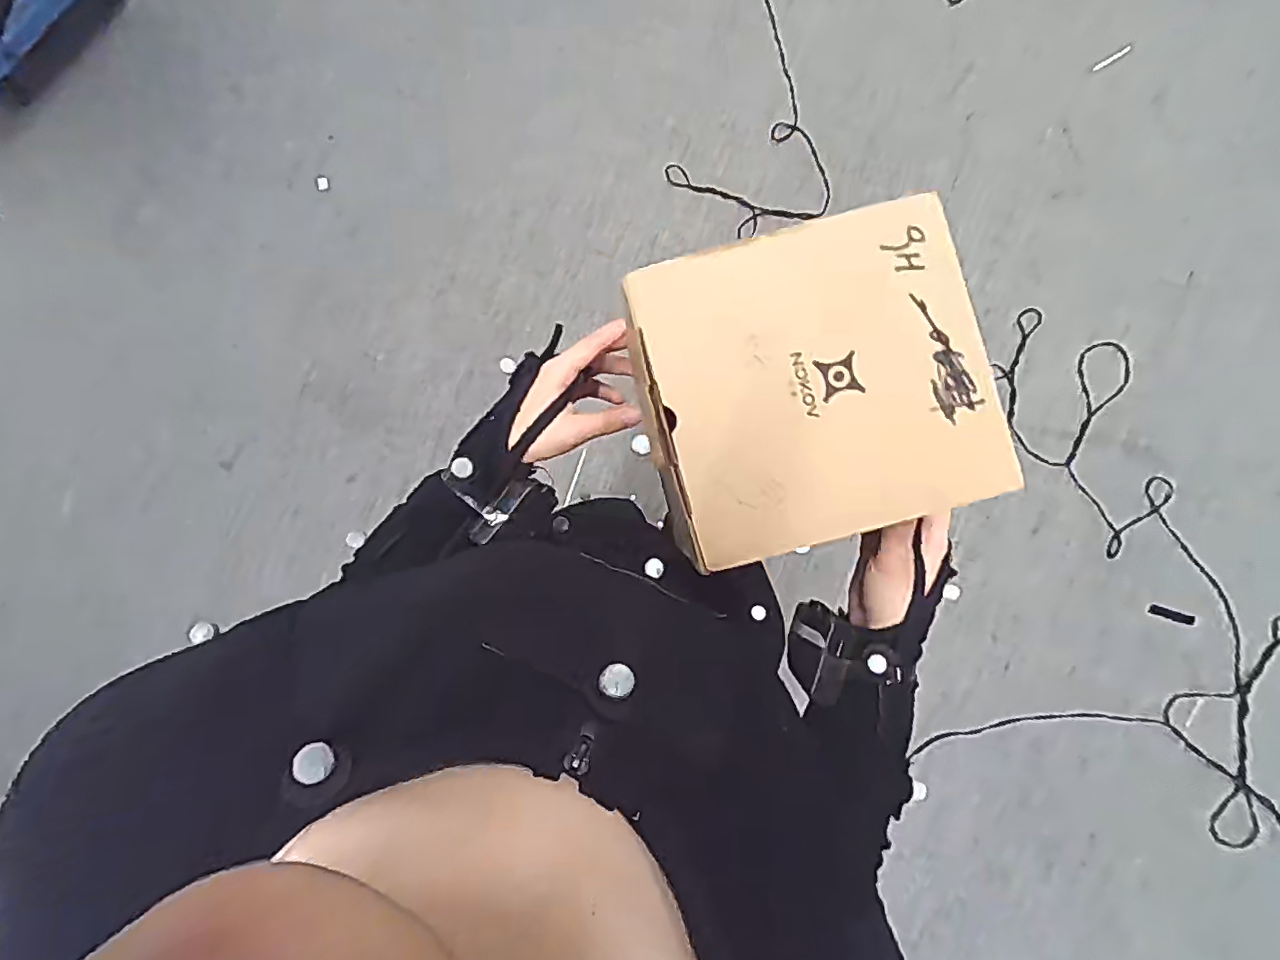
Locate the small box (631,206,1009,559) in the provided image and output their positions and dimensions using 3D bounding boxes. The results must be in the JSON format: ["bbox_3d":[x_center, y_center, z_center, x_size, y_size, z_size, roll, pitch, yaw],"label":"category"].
[{"bbox_3d":[0.099,-0.050,0.377,0.179,0.176,0.168,-15,88,0],"label":"small box"}]
